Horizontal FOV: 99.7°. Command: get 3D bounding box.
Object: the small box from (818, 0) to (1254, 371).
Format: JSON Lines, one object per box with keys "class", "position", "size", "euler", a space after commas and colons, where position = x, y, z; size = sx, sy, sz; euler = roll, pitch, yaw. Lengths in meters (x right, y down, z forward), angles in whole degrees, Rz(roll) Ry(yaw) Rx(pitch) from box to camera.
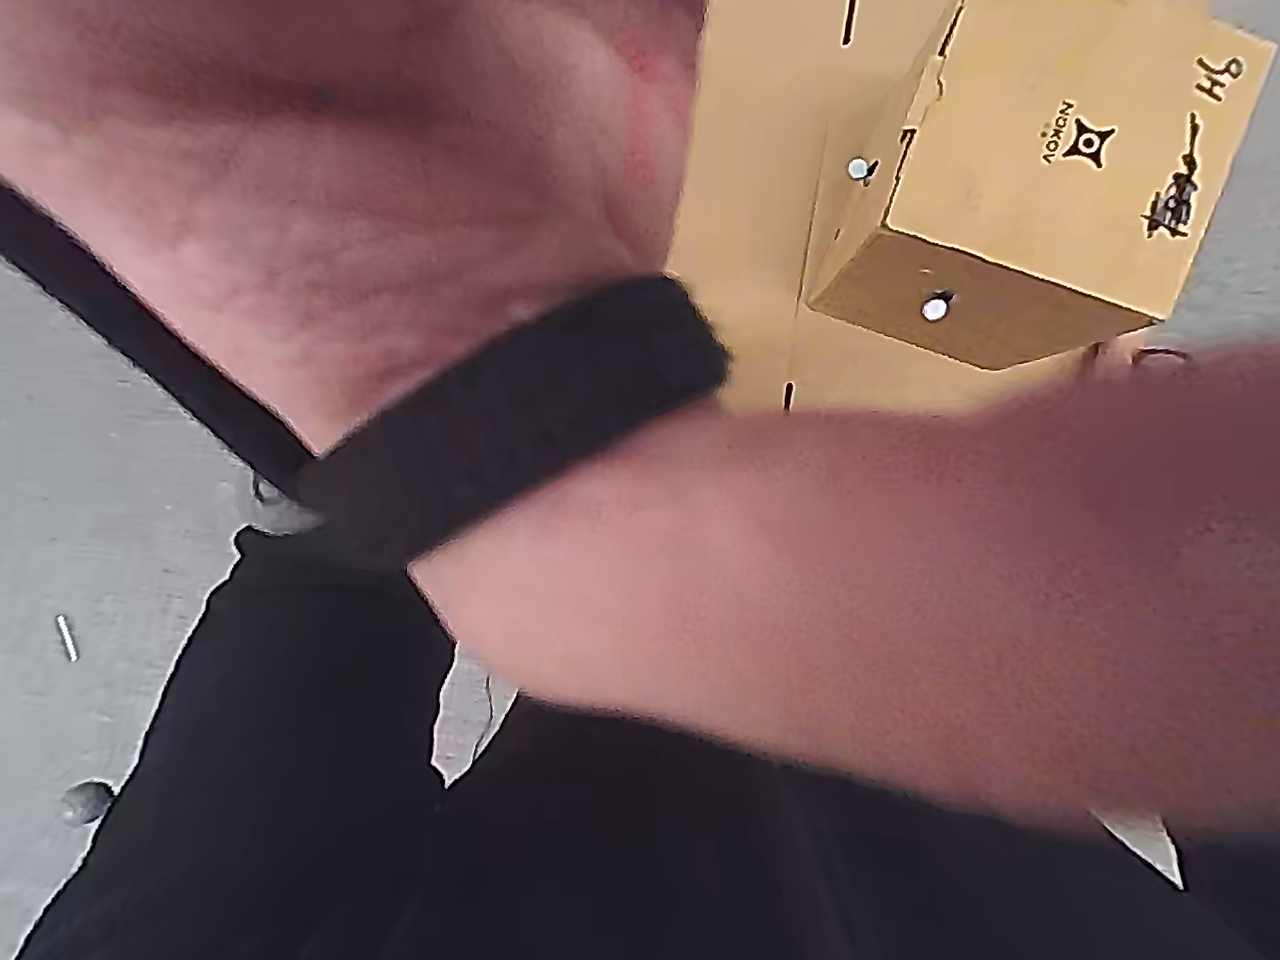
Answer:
{"class": "small box", "position": [0.254, -0.192, 0.402], "size": [0.179, 0.176, 0.168], "euler": [20, 93, 4]}
